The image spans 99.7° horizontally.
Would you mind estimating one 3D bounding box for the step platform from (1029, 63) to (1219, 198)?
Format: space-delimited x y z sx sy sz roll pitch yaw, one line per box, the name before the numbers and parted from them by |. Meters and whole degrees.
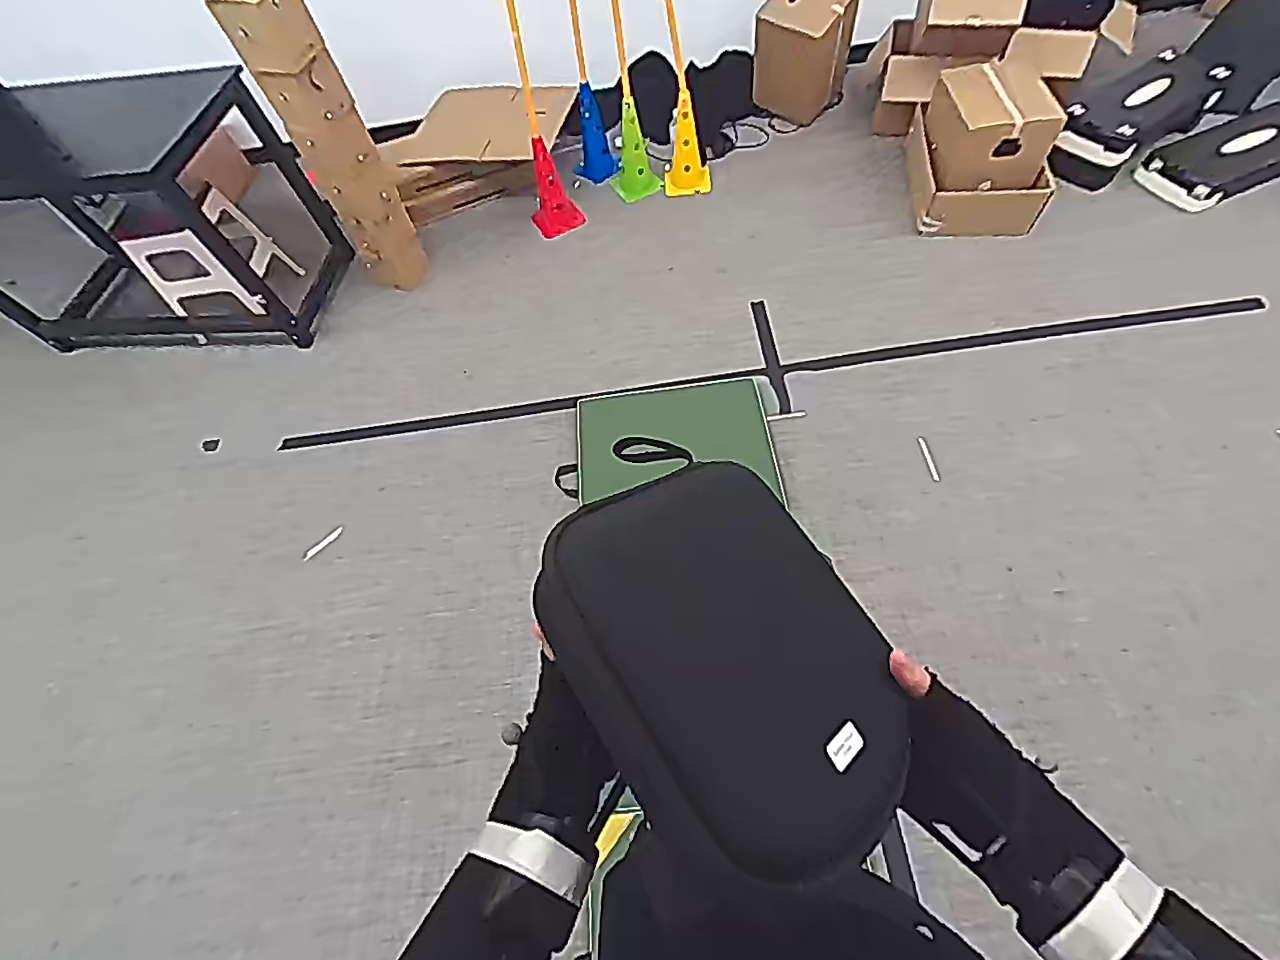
step platform | 1.932 -1.408 2.165 0.684 0.204 0.286 -33 62 -11
